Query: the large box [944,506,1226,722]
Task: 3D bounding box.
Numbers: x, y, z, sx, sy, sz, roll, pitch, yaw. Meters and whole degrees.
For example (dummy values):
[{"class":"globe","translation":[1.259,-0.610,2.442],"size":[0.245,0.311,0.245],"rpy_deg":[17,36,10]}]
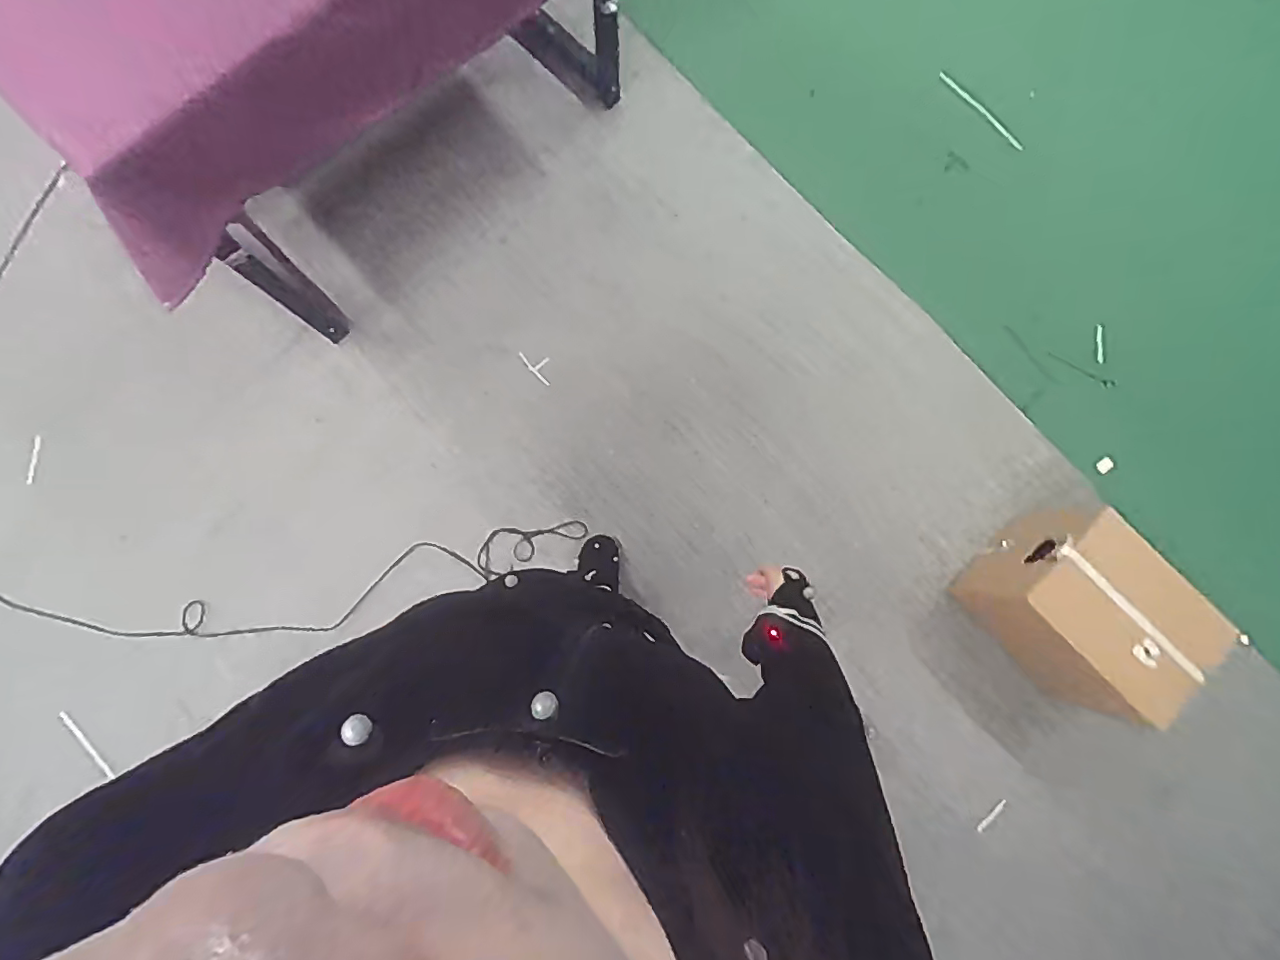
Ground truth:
[{"class":"large box","translation":[1.100,0.320,1.383],"size":[0.320,0.320,0.408],"rpy_deg":[-42,87,-7]}]
